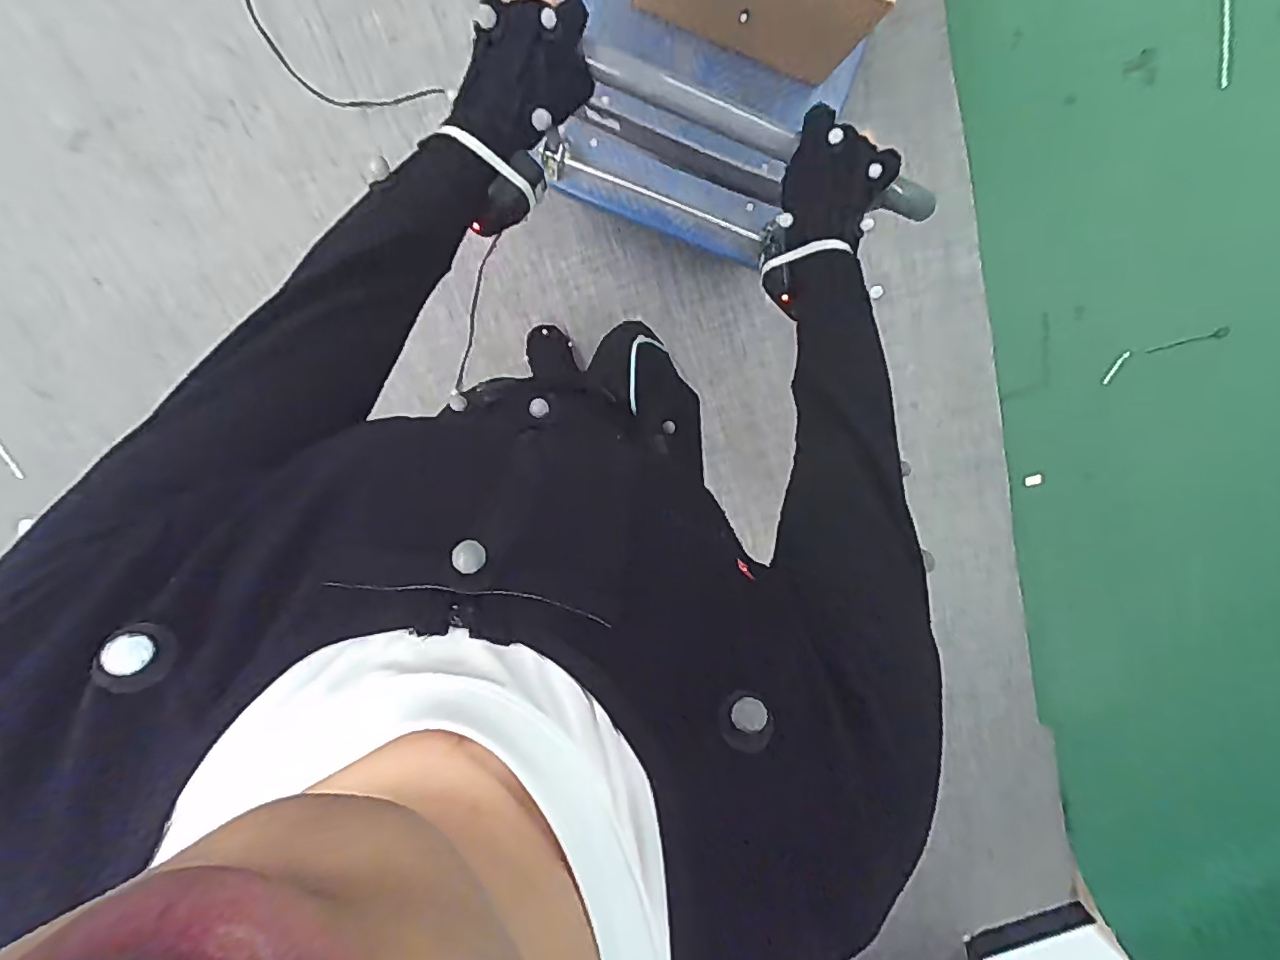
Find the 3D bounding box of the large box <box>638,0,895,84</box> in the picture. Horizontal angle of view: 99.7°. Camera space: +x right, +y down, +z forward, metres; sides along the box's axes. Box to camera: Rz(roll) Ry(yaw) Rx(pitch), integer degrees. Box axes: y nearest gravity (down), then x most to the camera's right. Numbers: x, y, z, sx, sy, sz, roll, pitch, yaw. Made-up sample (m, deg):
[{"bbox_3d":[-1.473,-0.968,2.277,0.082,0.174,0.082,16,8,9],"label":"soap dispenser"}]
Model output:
[{"bbox_3d":[0.236,-0.954,0.903,0.408,0.320,0.320,17,104,-8],"label":"large box"}]
